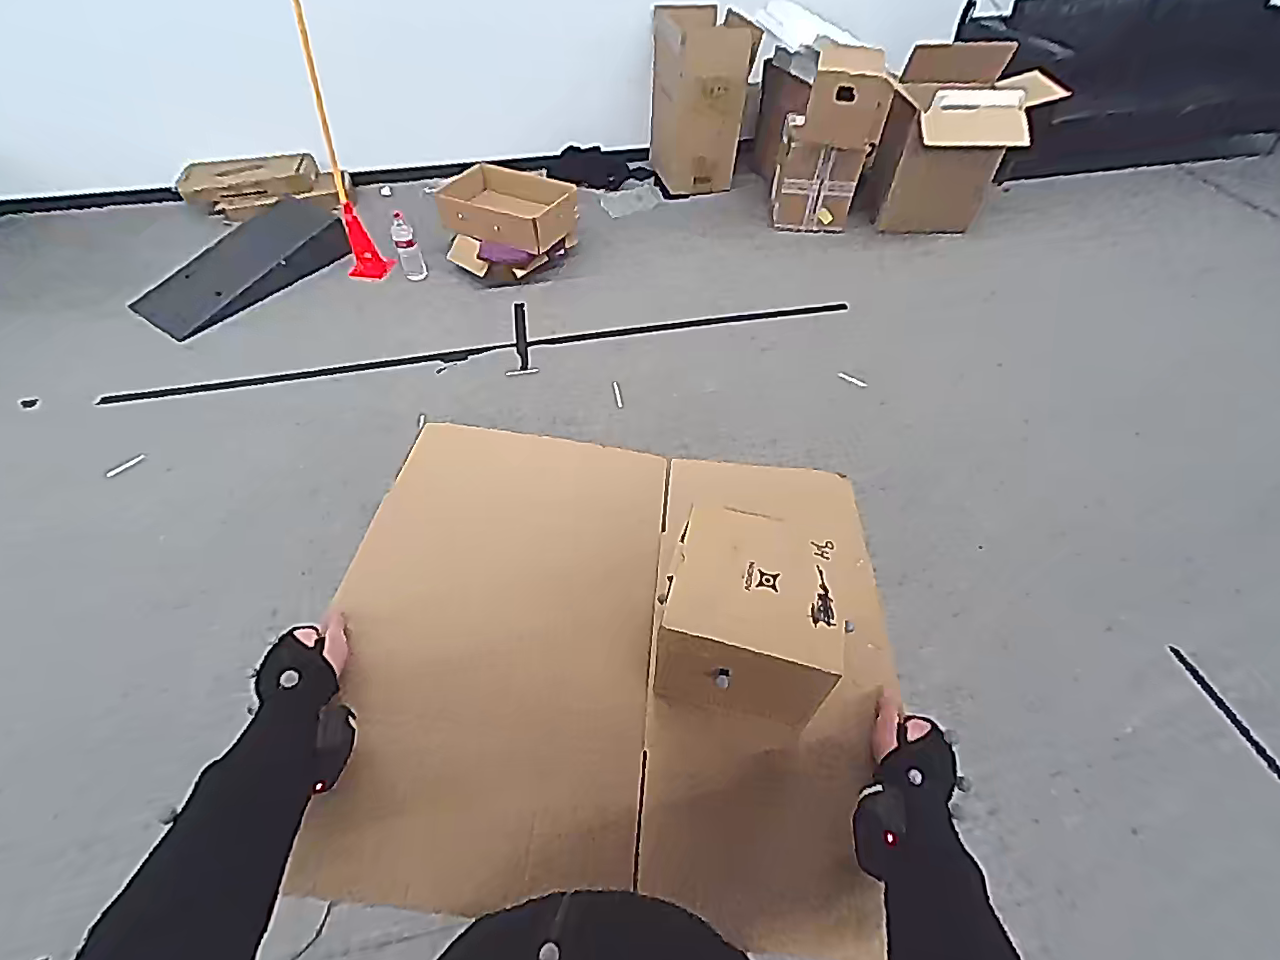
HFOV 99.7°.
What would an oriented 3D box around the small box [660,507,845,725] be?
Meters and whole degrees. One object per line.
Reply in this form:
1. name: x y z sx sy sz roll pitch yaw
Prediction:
1. small box: 0.125 0.160 0.626 0.179 0.176 0.168 12 49 10
